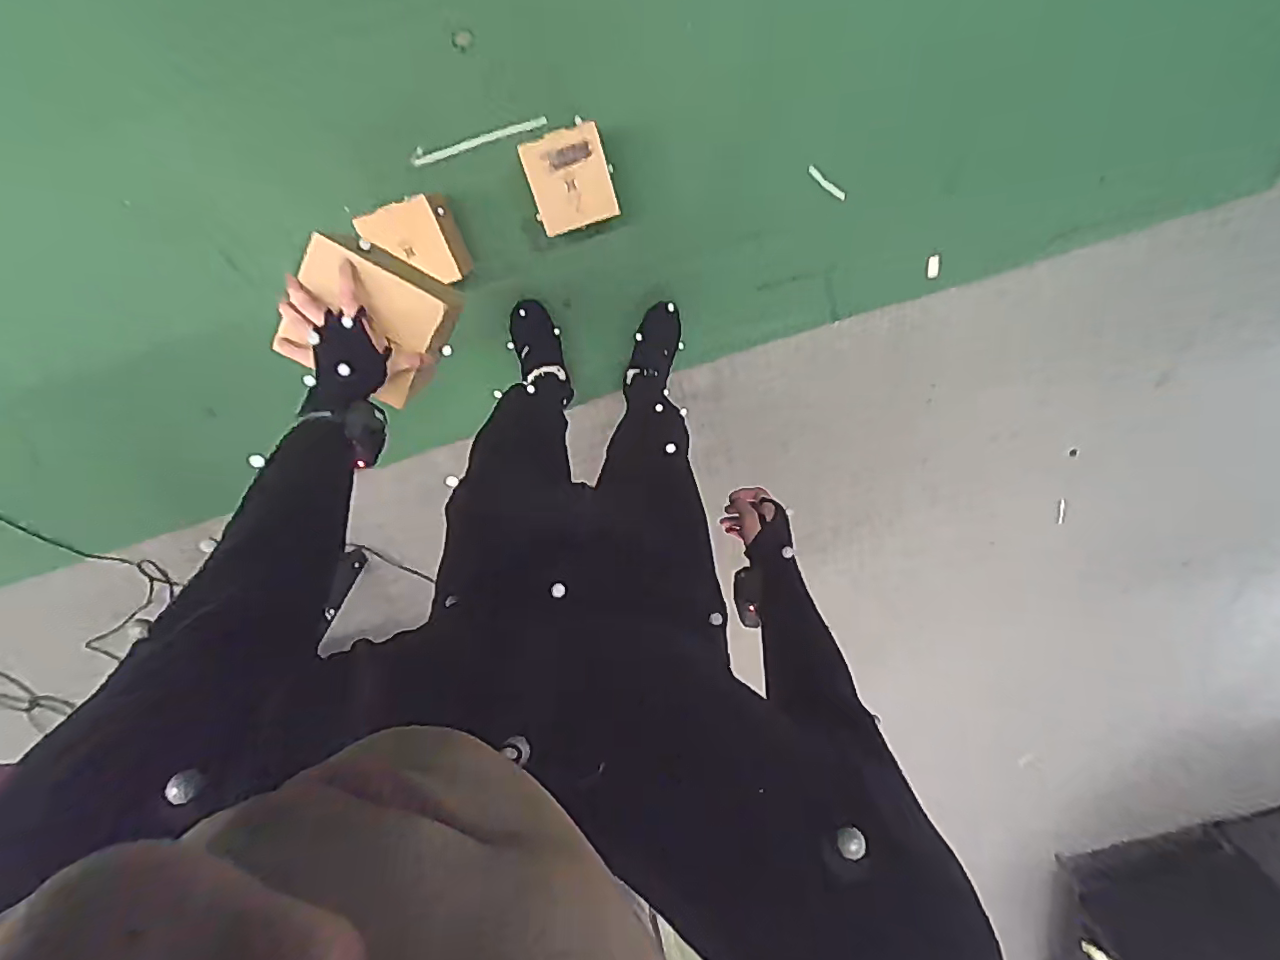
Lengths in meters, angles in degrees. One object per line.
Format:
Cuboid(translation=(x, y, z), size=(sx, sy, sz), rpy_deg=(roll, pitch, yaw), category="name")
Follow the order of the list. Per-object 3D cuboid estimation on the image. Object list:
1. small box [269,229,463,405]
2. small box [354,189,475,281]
Cuboid(translation=(-0.383, -0.236, 0.784), size=(0.179, 0.176, 0.168), rpy_deg=(27, 108, -17), category="small box")
Cuboid(translation=(-0.494, -0.537, 1.216), size=(0.168, 0.176, 0.179), rpy_deg=(-18, 118, 5), category="small box")
